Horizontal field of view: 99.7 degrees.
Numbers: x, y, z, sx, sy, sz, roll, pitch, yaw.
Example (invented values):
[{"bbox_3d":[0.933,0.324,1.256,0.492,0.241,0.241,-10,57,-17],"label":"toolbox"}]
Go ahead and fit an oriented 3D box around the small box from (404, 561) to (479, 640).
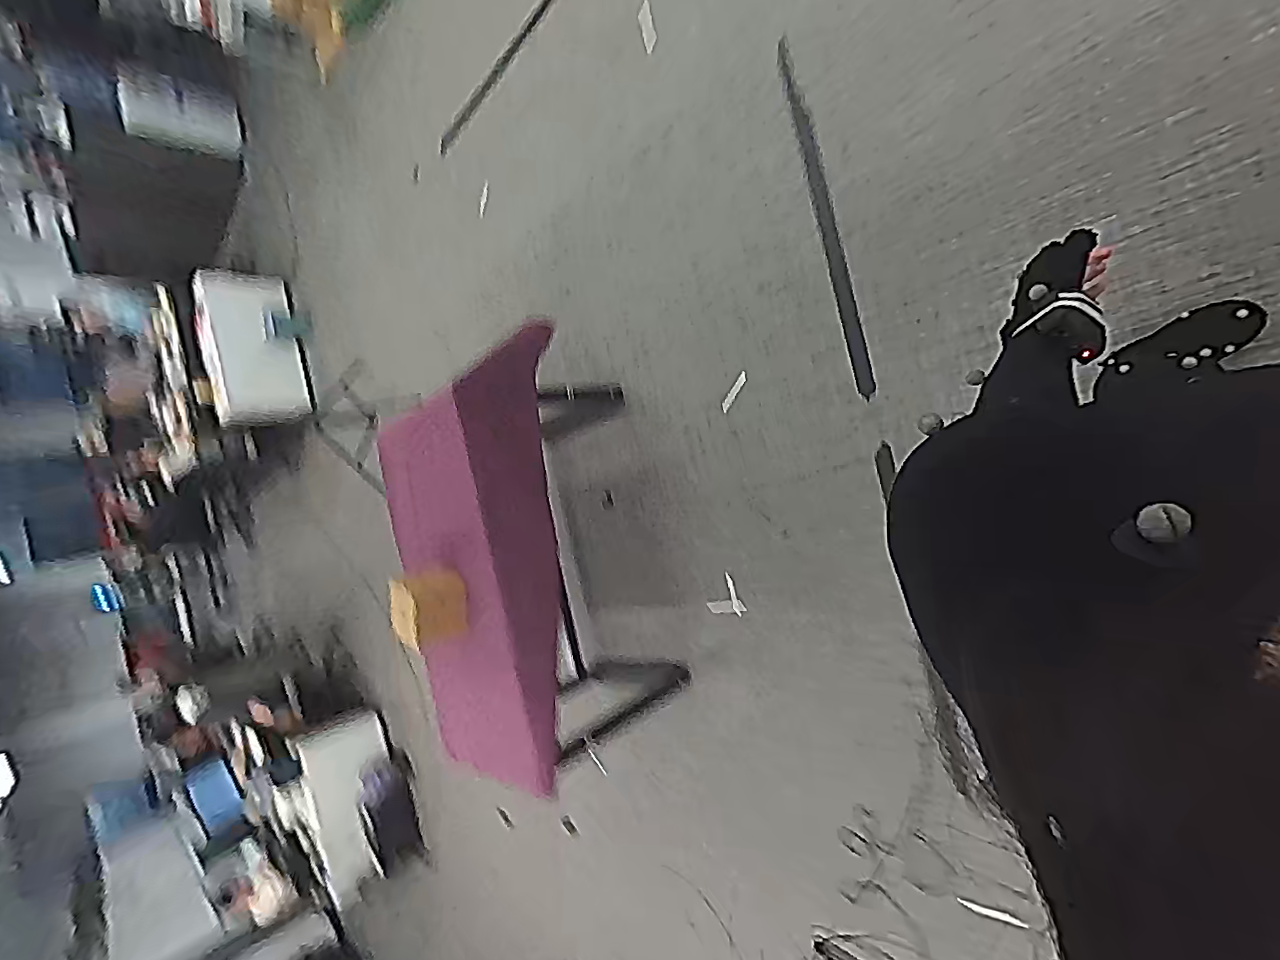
[{"bbox_3d":[-0.624,0.370,1.706,0.168,0.176,0.179,12,107,44],"label":"small box"}]
